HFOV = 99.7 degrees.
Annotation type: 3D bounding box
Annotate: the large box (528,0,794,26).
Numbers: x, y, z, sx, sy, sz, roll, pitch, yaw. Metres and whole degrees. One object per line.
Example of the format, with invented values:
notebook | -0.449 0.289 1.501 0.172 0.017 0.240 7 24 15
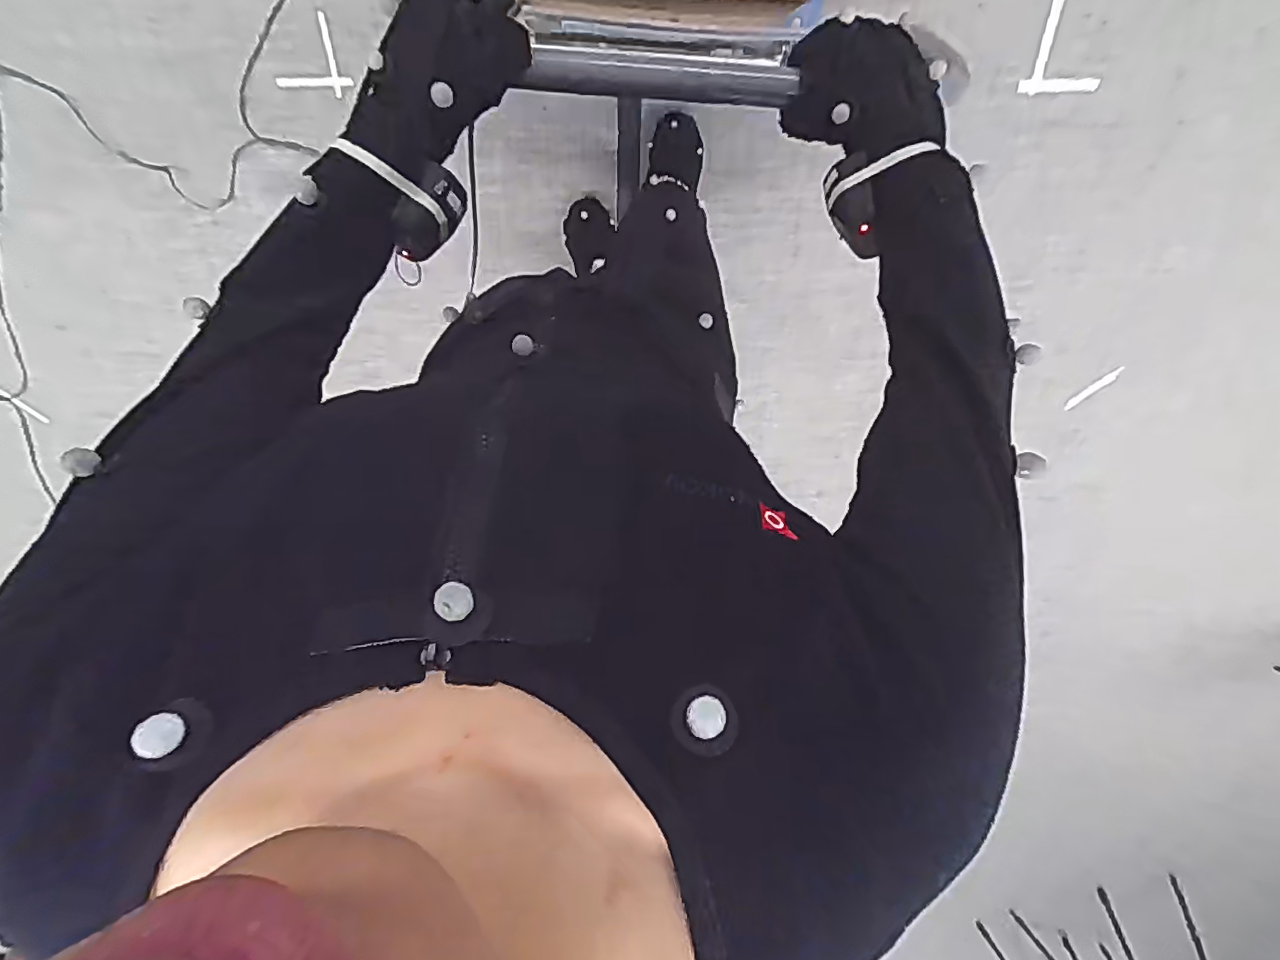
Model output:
large box | 0.025 -0.856 0.747 0.408 0.320 0.320 1 125 -4
